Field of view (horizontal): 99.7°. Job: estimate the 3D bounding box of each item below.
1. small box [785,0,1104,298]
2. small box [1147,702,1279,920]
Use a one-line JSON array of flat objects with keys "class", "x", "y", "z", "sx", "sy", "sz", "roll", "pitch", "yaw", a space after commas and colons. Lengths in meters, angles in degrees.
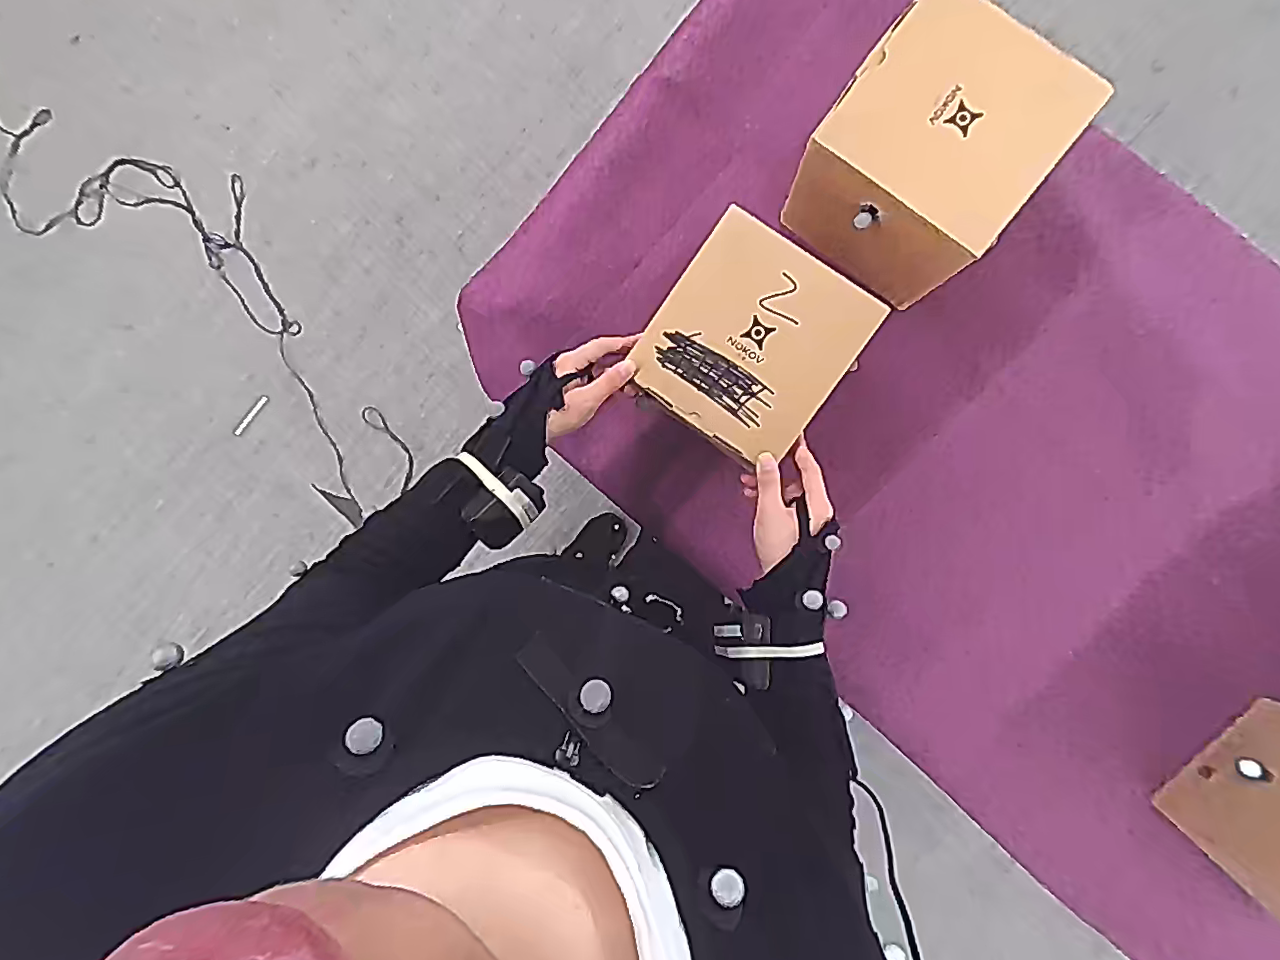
[{"class": "small box", "x": 0.269, "y": -0.302, "z": 0.528, "sx": 0.179, "sy": 0.176, "sz": 0.168, "roll": 38, "pitch": 95, "yaw": 3}, {"class": "small box", "x": 0.662, "y": 0.349, "z": 0.507, "sx": 0.179, "sy": 0.176, "sz": 0.168, "roll": 44, "pitch": 94, "yaw": 4}]
